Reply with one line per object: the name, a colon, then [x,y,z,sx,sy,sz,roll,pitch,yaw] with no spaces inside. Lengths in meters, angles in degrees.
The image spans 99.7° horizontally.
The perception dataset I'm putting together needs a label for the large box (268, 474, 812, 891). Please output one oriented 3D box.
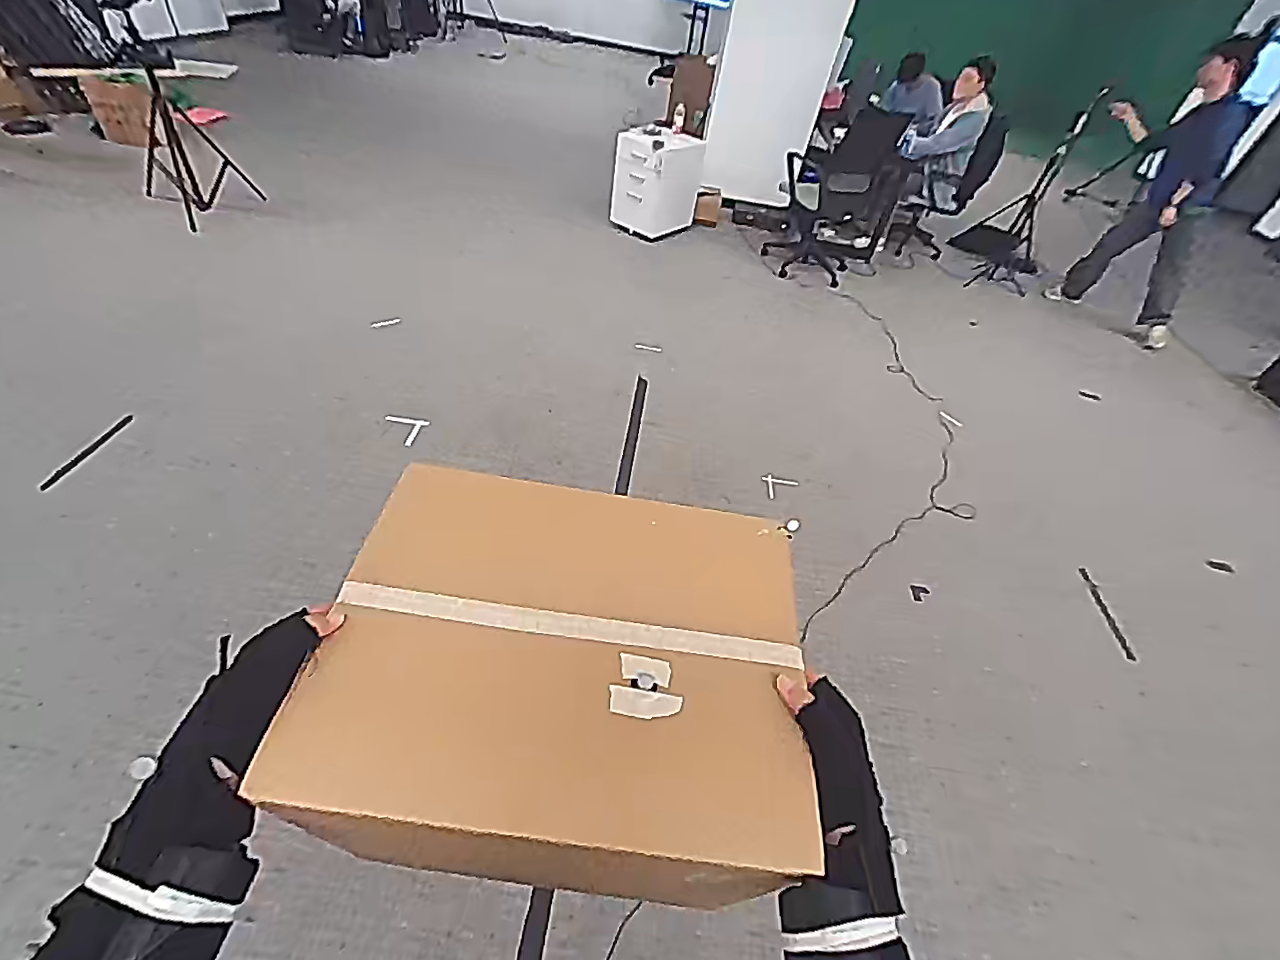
large box: [-0.077,0.230,0.596,0.408,0.320,0.320,9,49,-2]
